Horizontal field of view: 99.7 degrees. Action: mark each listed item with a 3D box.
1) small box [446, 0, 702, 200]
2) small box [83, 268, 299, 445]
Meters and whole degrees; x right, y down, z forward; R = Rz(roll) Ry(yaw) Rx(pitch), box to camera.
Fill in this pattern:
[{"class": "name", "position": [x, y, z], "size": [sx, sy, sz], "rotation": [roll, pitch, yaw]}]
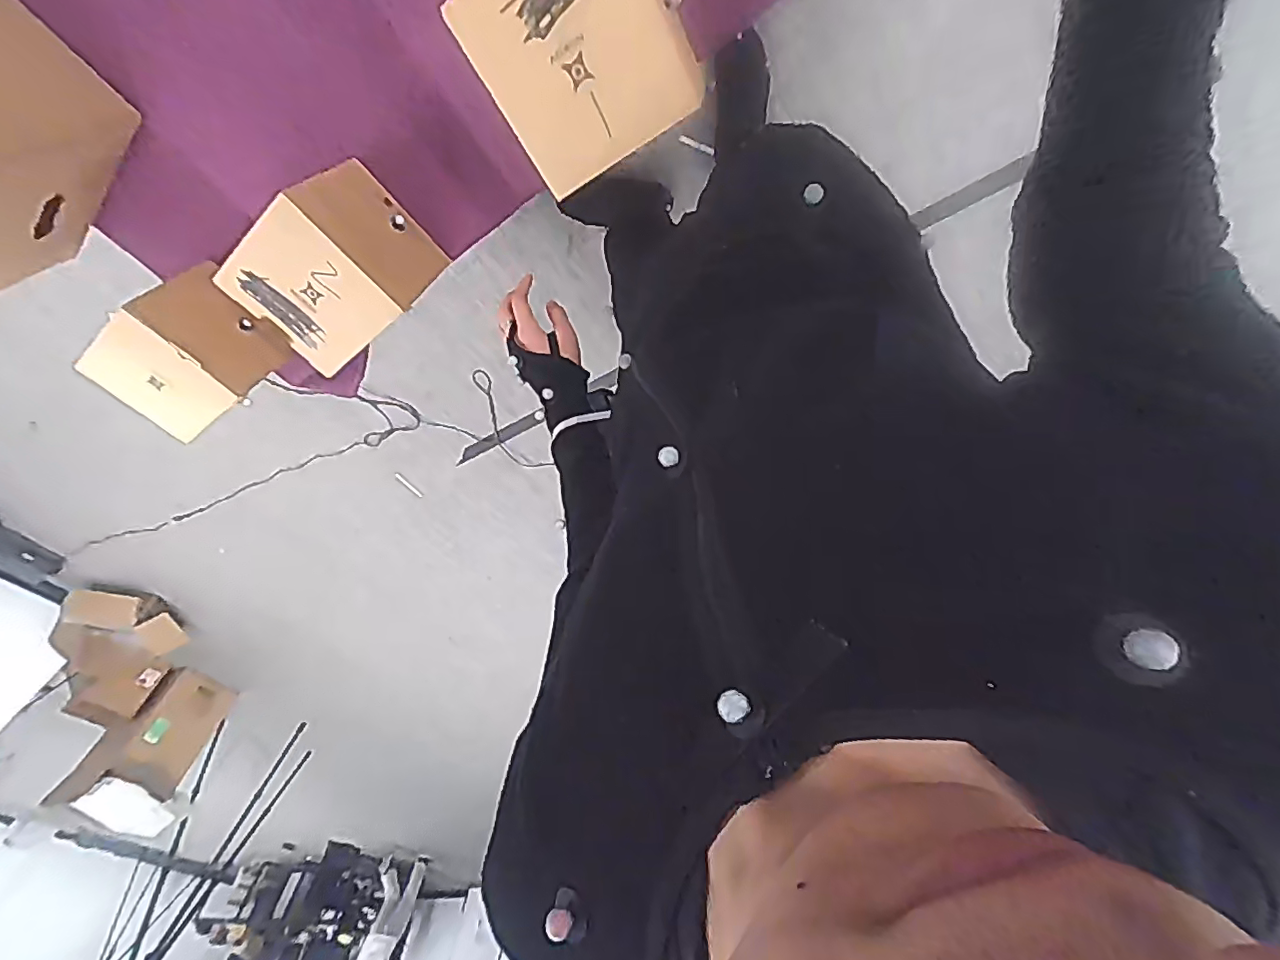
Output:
[{"class": "small box", "position": [-0.049, -0.421, 0.534], "size": [0.168, 0.176, 0.179], "rotation": [-20, 127, 25]}, {"class": "small box", "position": [-0.679, -0.191, 0.838], "size": [0.179, 0.176, 0.168], "rotation": [-25, 124, 26]}]
